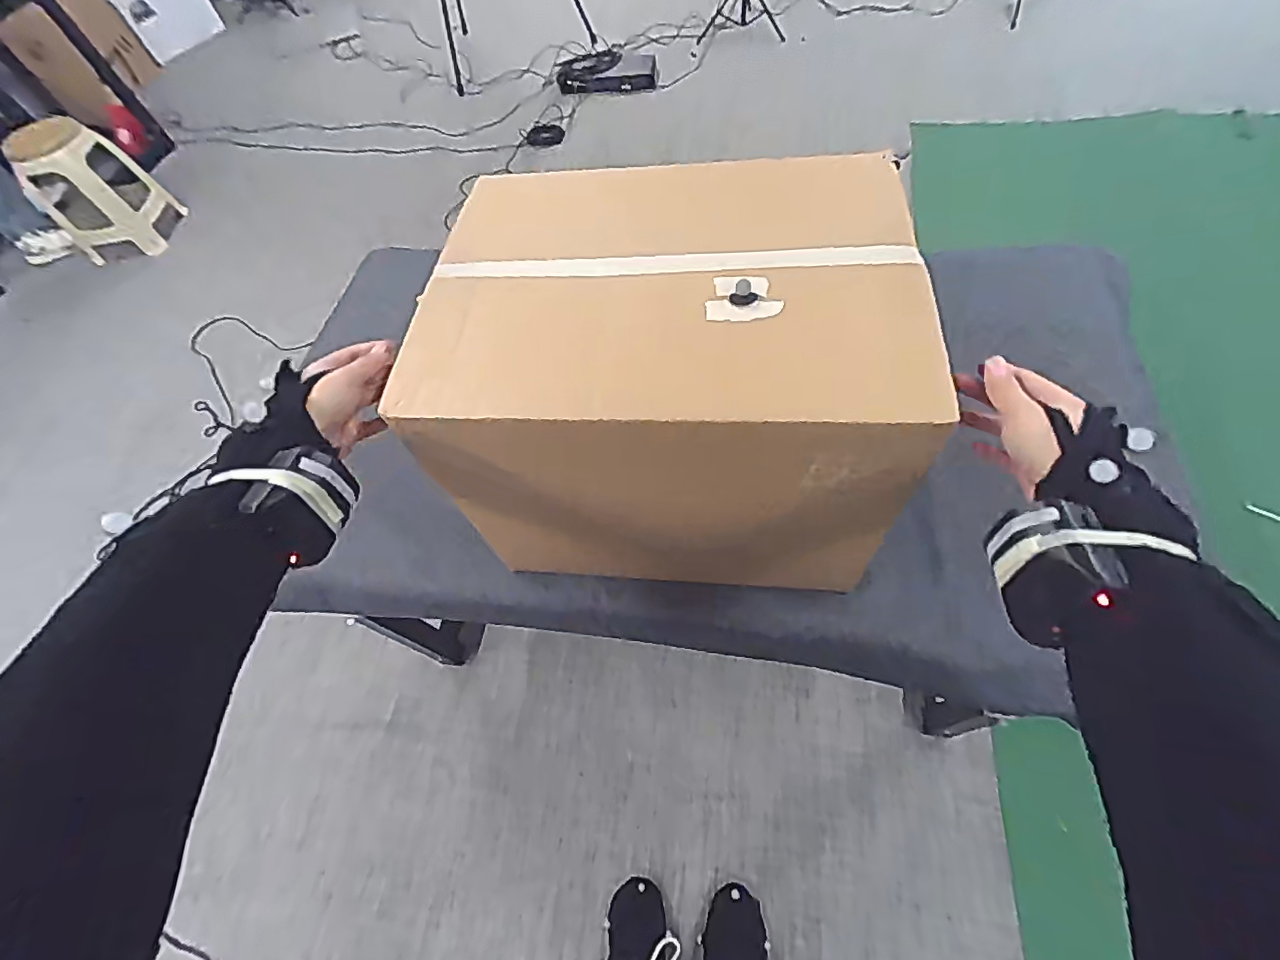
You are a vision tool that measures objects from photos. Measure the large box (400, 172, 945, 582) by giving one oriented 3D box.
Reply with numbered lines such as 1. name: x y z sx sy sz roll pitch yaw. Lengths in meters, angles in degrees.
1. large box: 0.037 -0.092 0.591 0.408 0.320 0.320 1 59 8
